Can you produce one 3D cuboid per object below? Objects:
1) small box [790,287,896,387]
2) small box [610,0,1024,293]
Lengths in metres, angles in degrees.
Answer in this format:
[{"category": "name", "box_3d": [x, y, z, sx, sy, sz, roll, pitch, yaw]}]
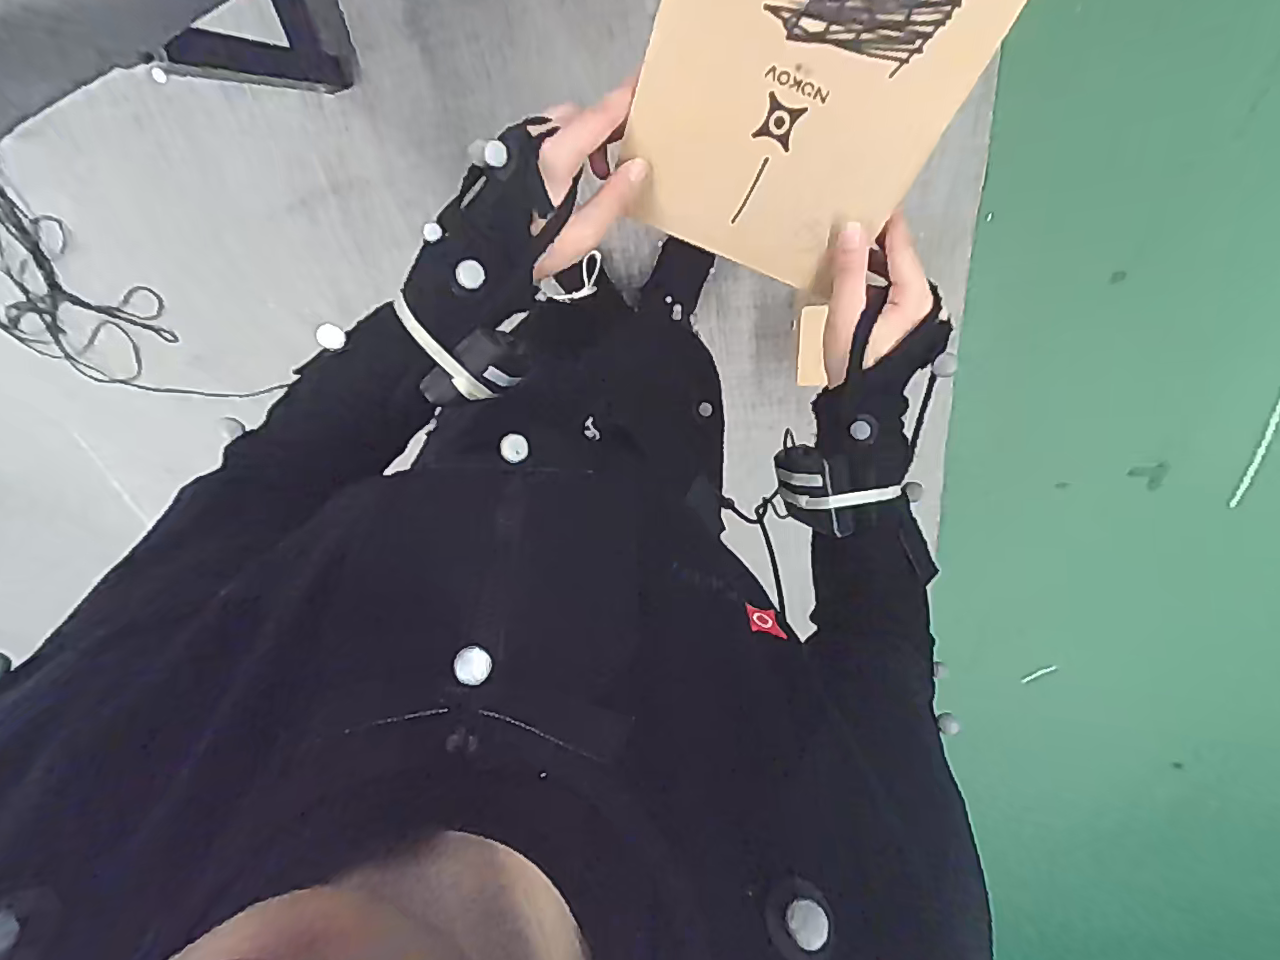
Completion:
[{"category": "small box", "box_3d": [0.416, -0.304, 1.137, 0.179, 0.176, 0.168, 0, 120, 11]}, {"category": "small box", "box_3d": [0.094, -0.260, 0.349, 0.168, 0.176, 0.179, 20, 132, -6]}]
